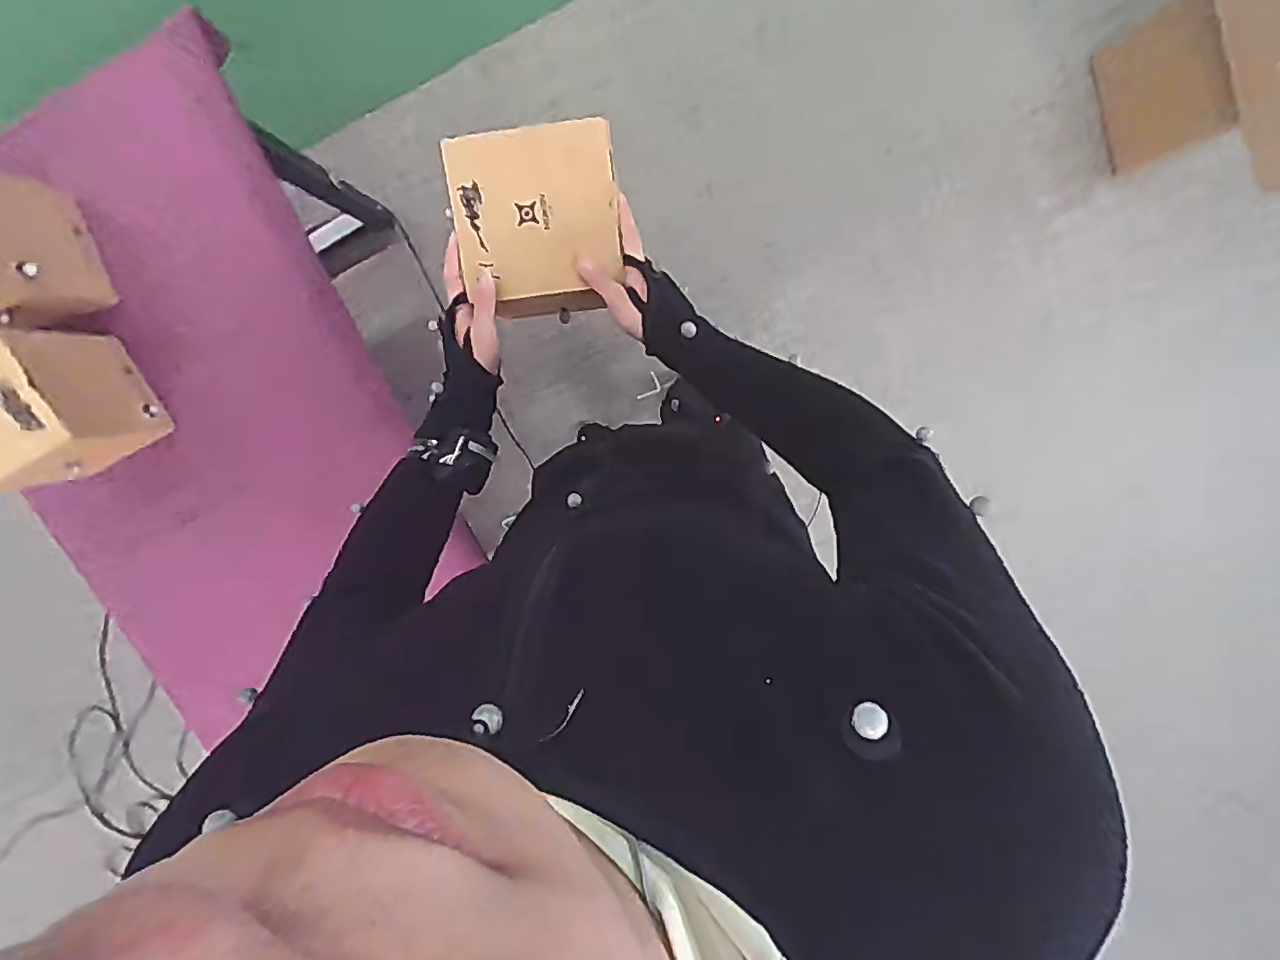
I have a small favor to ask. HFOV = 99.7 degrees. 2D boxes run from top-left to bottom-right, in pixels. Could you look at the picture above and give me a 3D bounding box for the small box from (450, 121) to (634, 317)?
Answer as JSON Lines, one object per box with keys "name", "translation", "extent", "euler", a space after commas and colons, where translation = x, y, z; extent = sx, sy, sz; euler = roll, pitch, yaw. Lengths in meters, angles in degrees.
{"name": "small box", "translation": [-0.102, -0.293, 0.643], "extent": [0.179, 0.176, 0.168], "euler": [-6, 101, 1]}
